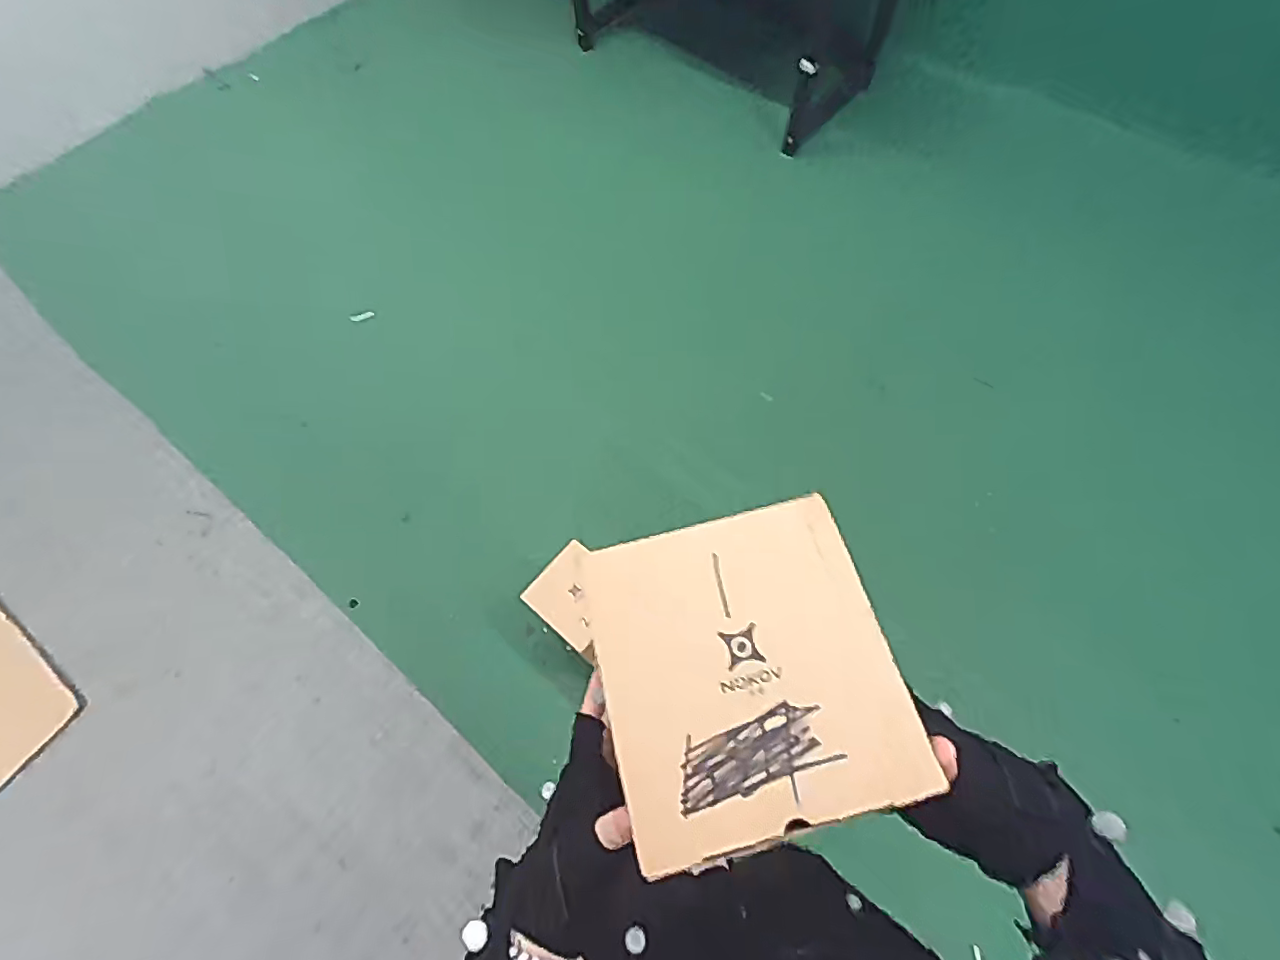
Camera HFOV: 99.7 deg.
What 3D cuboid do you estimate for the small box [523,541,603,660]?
[{"bbox_3d":[-0.121,0.268,1.174,0.179,0.176,0.168,38,72,18],"label":"small box"}]

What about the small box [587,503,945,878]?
[{"bbox_3d":[0.068,0.141,0.386,0.168,0.176,0.179,-13,65,-4],"label":"small box"}]
